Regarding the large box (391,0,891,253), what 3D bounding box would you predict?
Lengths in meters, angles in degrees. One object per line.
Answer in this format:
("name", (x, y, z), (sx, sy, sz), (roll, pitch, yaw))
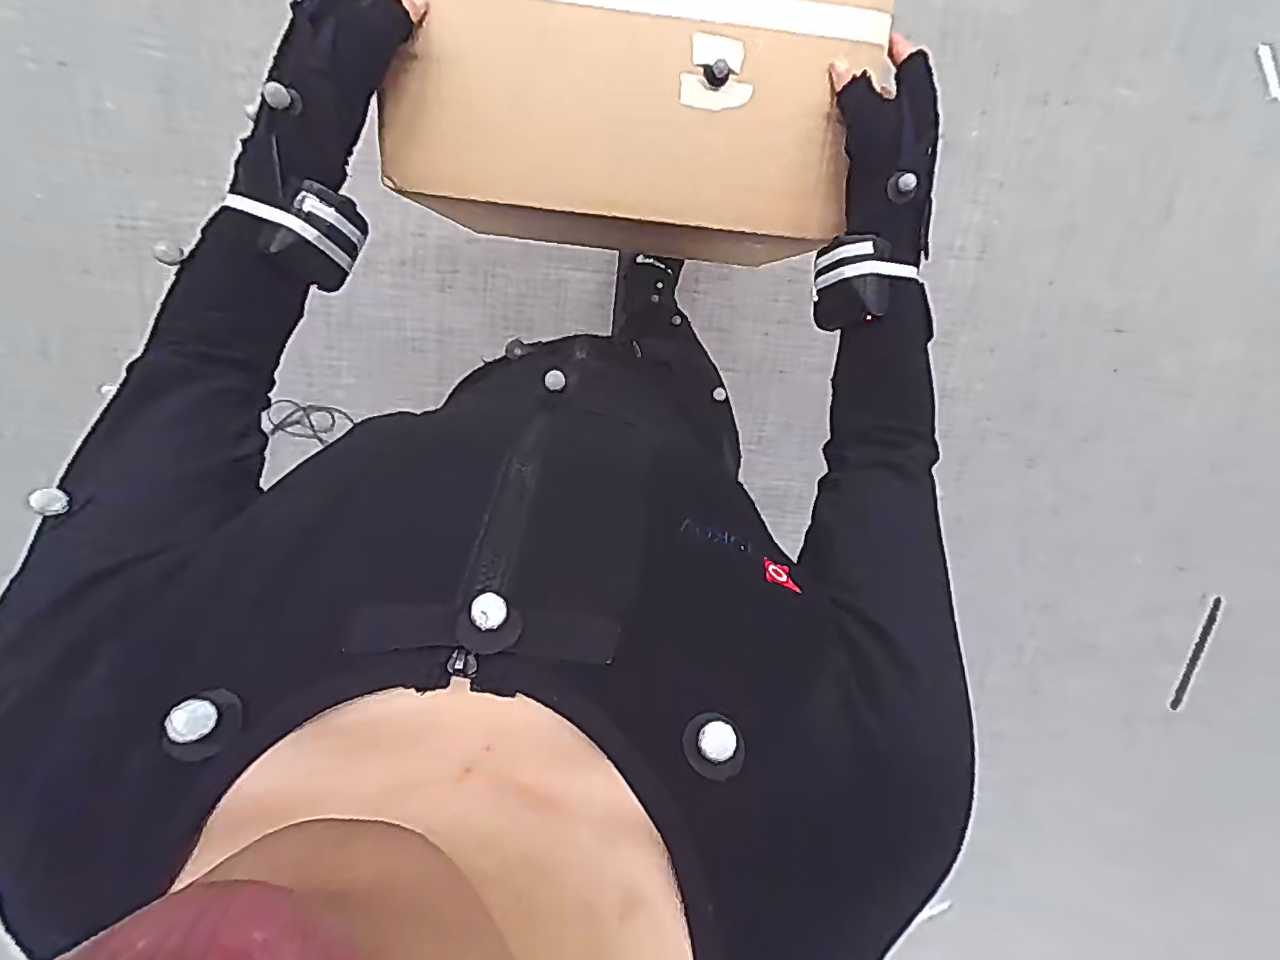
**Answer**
("large box", (-0.005, -0.433, 0.568), (0.408, 0.320, 0.320), (4, 108, -5))
